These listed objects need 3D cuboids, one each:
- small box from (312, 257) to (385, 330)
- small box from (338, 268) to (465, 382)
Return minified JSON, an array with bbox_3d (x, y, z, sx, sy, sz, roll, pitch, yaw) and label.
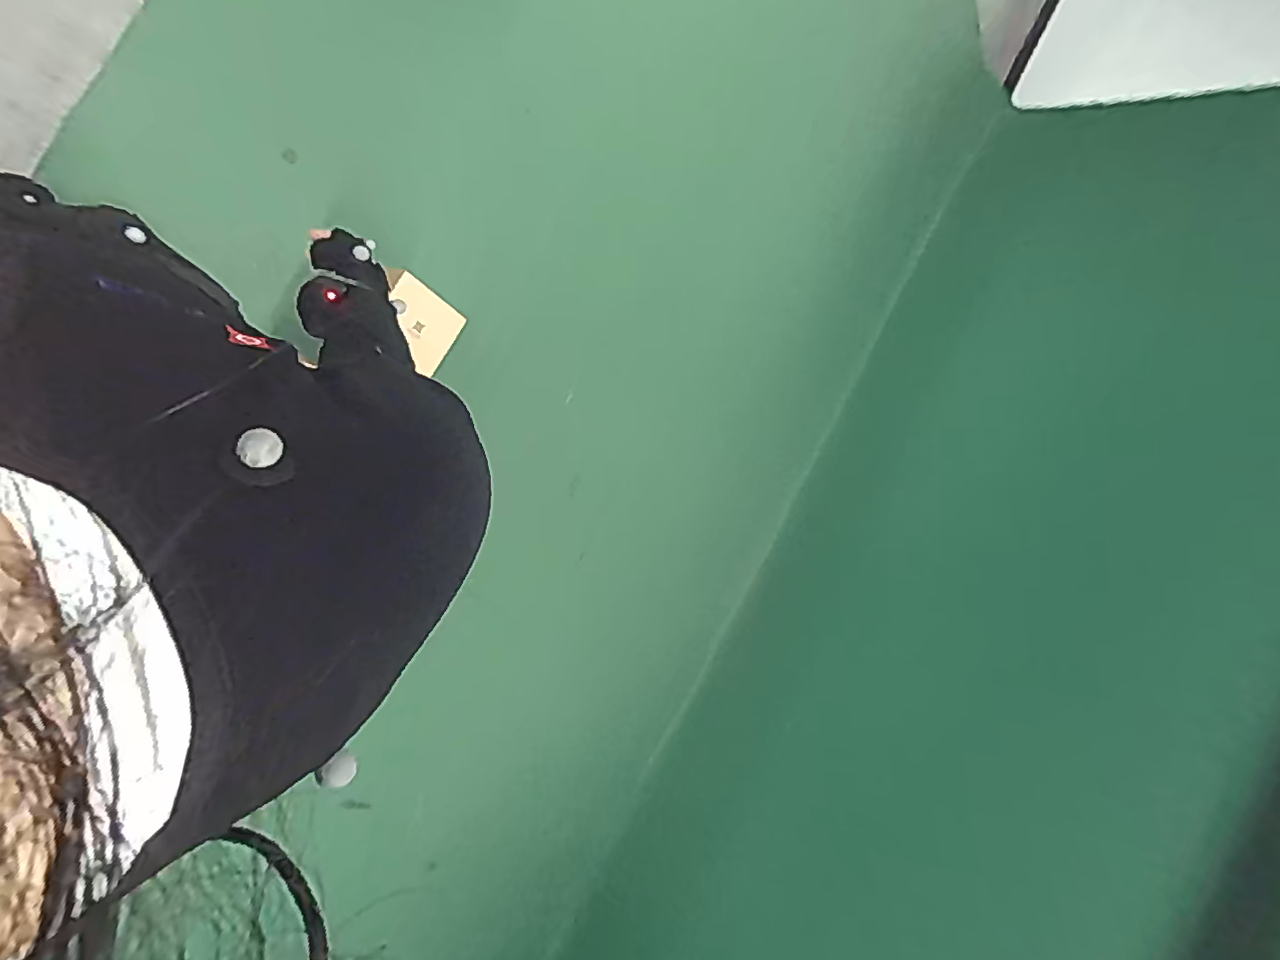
[{"bbox_3d":[-0.644,-0.410,1.295,0.168,0.176,0.179,-59,139,-7],"label":"small box"},{"bbox_3d":[-0.530,-0.346,1.193,0.168,0.176,0.179,38,80,-48],"label":"small box"}]
